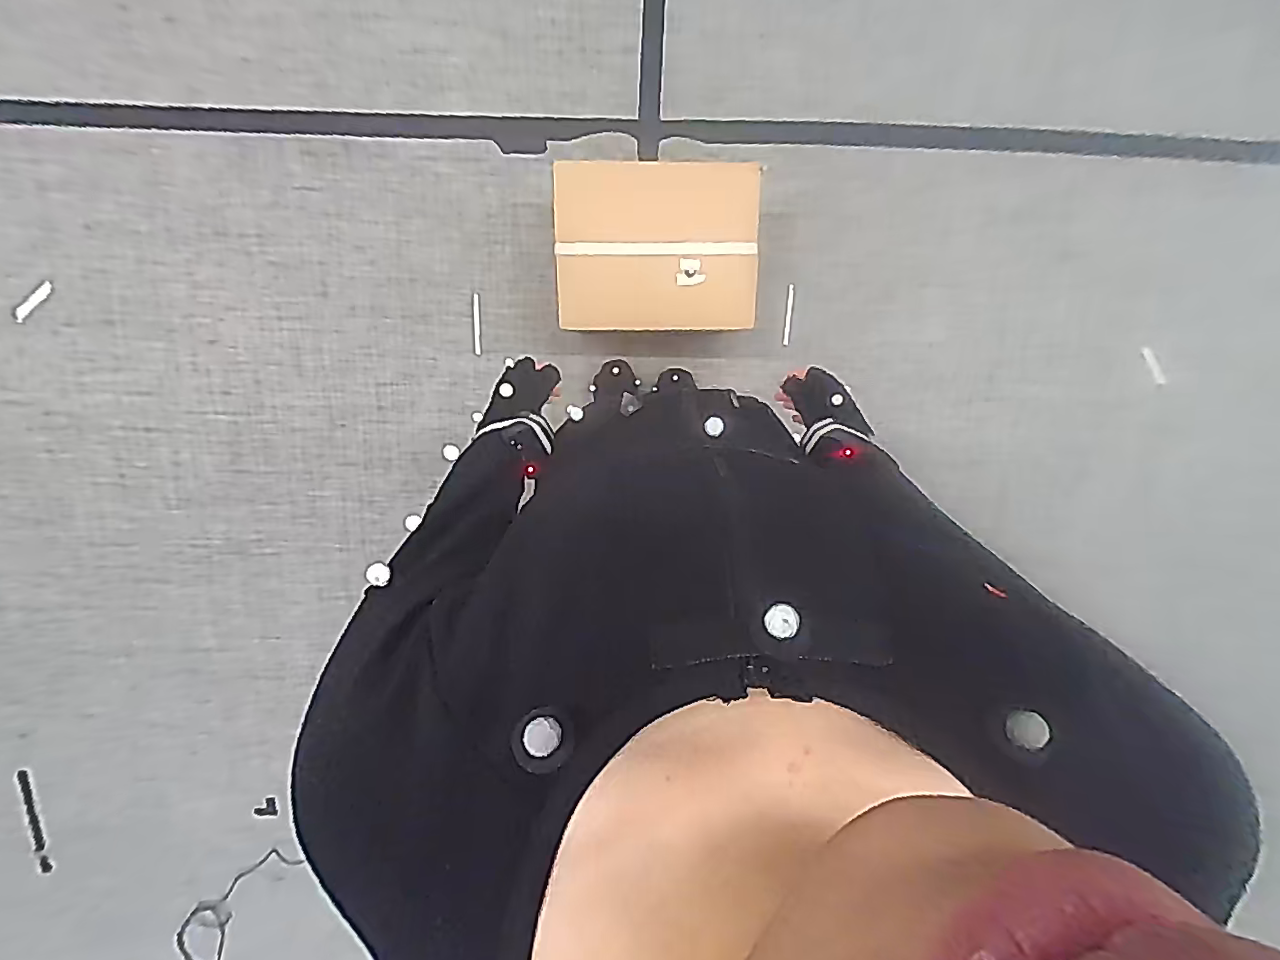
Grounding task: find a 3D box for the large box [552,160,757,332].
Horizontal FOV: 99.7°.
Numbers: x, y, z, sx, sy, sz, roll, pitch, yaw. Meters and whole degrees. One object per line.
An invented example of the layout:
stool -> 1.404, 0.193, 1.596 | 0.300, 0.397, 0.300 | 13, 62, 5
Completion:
large box -> 0.023, -0.501, 1.219 | 0.408, 0.320, 0.320 | -1, 105, -3
